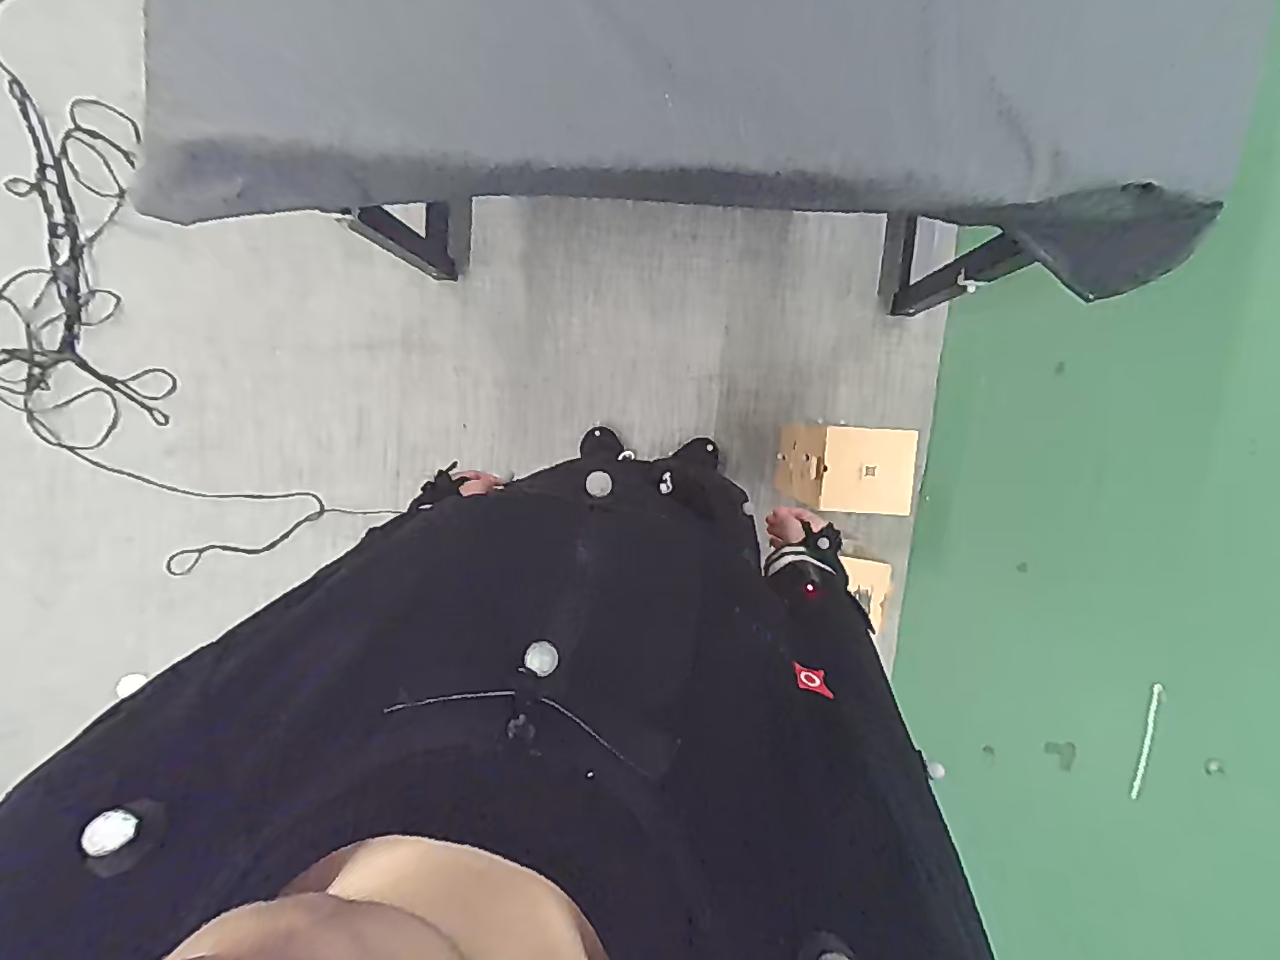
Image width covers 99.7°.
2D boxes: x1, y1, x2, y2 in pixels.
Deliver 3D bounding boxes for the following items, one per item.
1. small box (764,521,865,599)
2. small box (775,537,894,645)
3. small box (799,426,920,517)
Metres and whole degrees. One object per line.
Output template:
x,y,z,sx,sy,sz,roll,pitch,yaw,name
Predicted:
0.409,0.199,1.294,0.179,0.176,0.168,9,95,4,small box
0.398,0.222,1.132,0.179,0.176,0.168,9,95,3,small box
0.439,-0.024,1.103,0.179,0.176,0.168,3,96,2,small box
